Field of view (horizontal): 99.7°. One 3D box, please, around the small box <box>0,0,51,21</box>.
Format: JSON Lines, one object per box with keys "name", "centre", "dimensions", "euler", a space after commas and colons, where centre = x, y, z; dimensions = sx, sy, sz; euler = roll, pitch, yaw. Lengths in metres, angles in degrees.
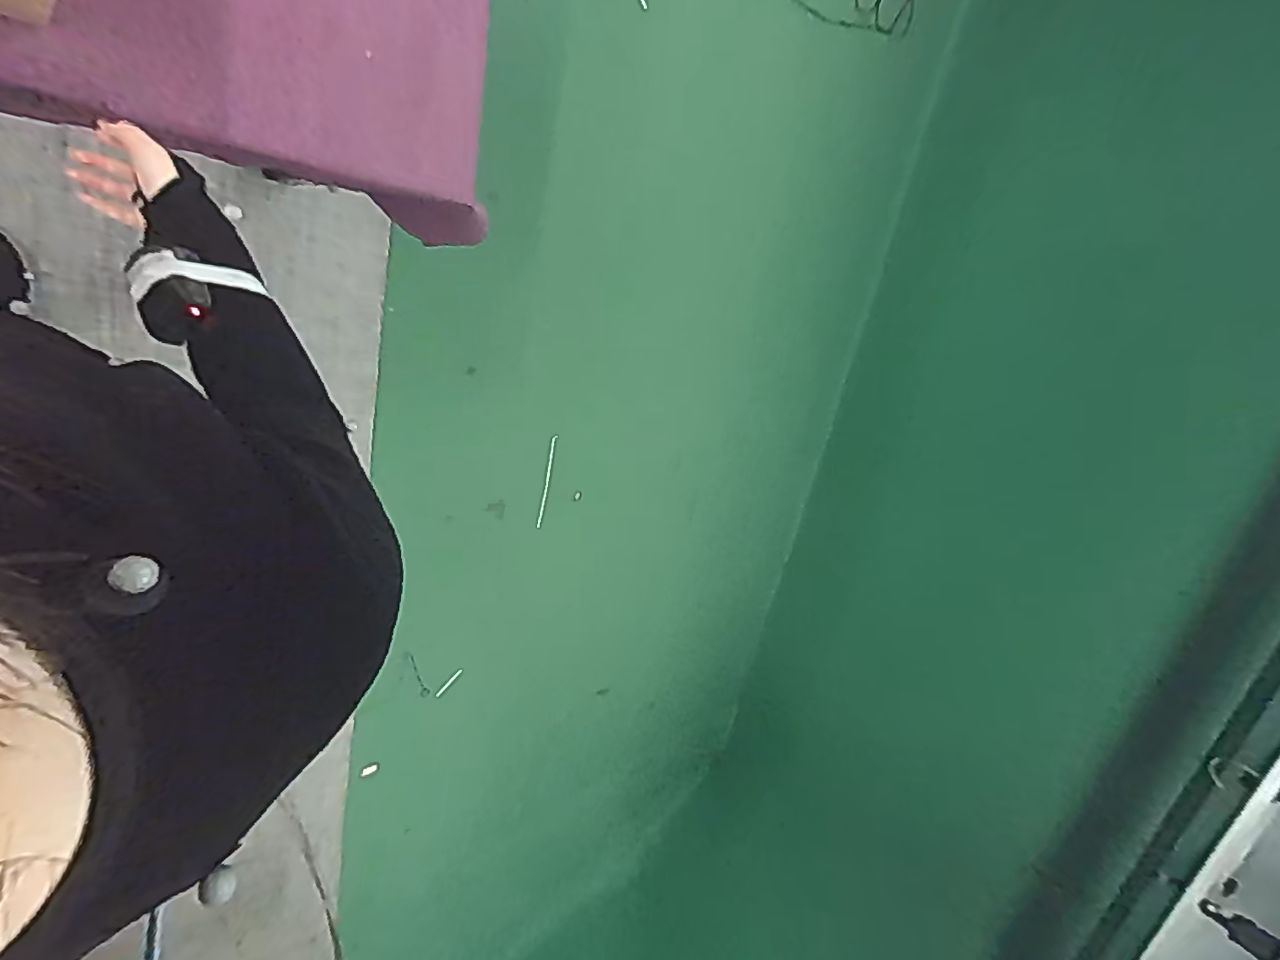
{"name": "small box", "centre": [-0.492, -0.418, 0.323], "dimensions": [0.179, 0.176, 0.168], "euler": [-12, 119, -45]}
